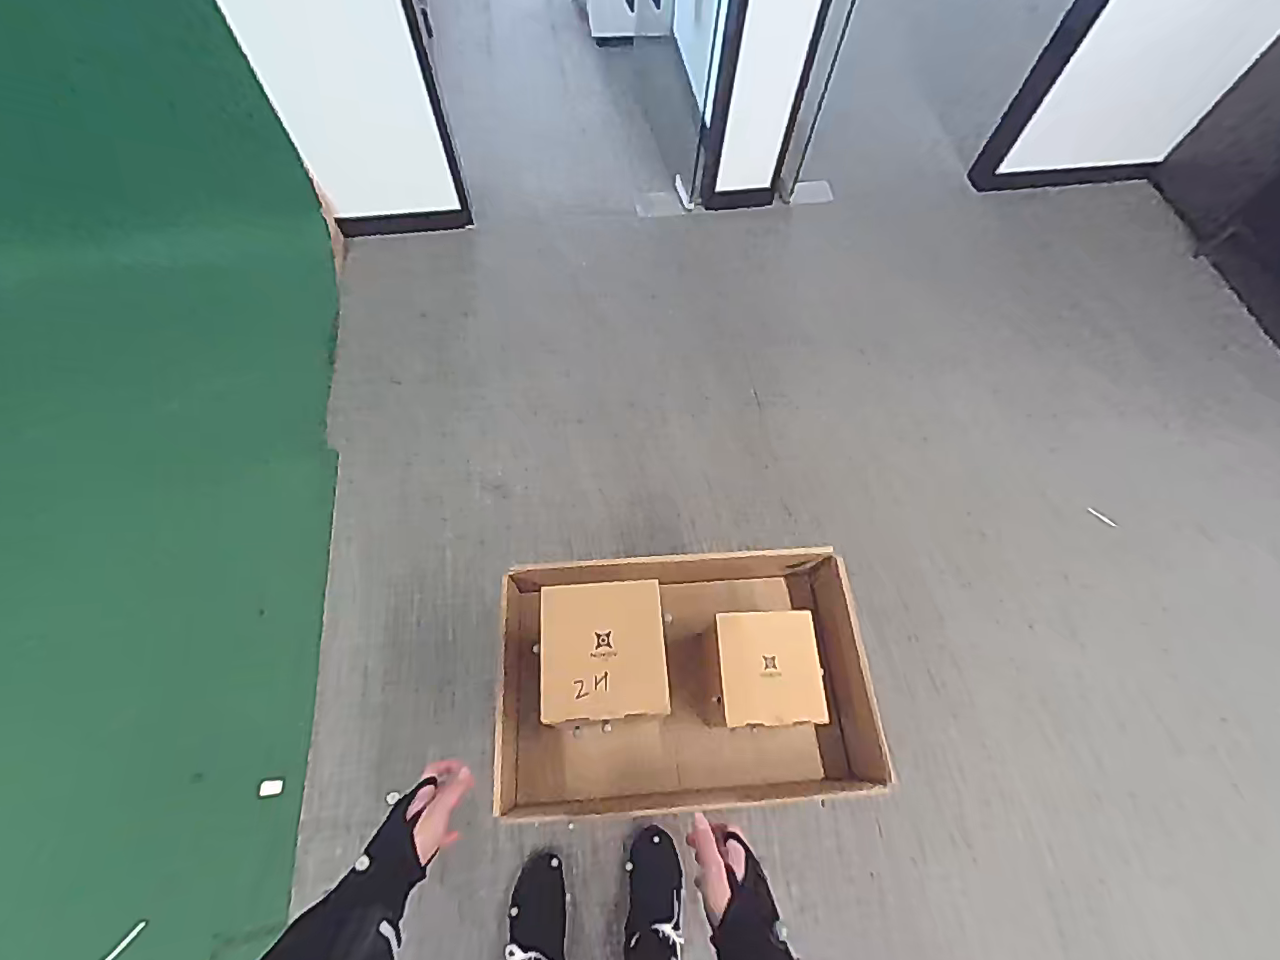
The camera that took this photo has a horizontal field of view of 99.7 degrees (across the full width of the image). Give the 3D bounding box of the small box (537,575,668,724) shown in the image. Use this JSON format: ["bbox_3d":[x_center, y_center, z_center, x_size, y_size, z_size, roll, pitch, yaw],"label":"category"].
[{"bbox_3d":[-0.053,0.249,0.779,0.168,0.176,0.179,-4,65,-2],"label":"small box"}]
